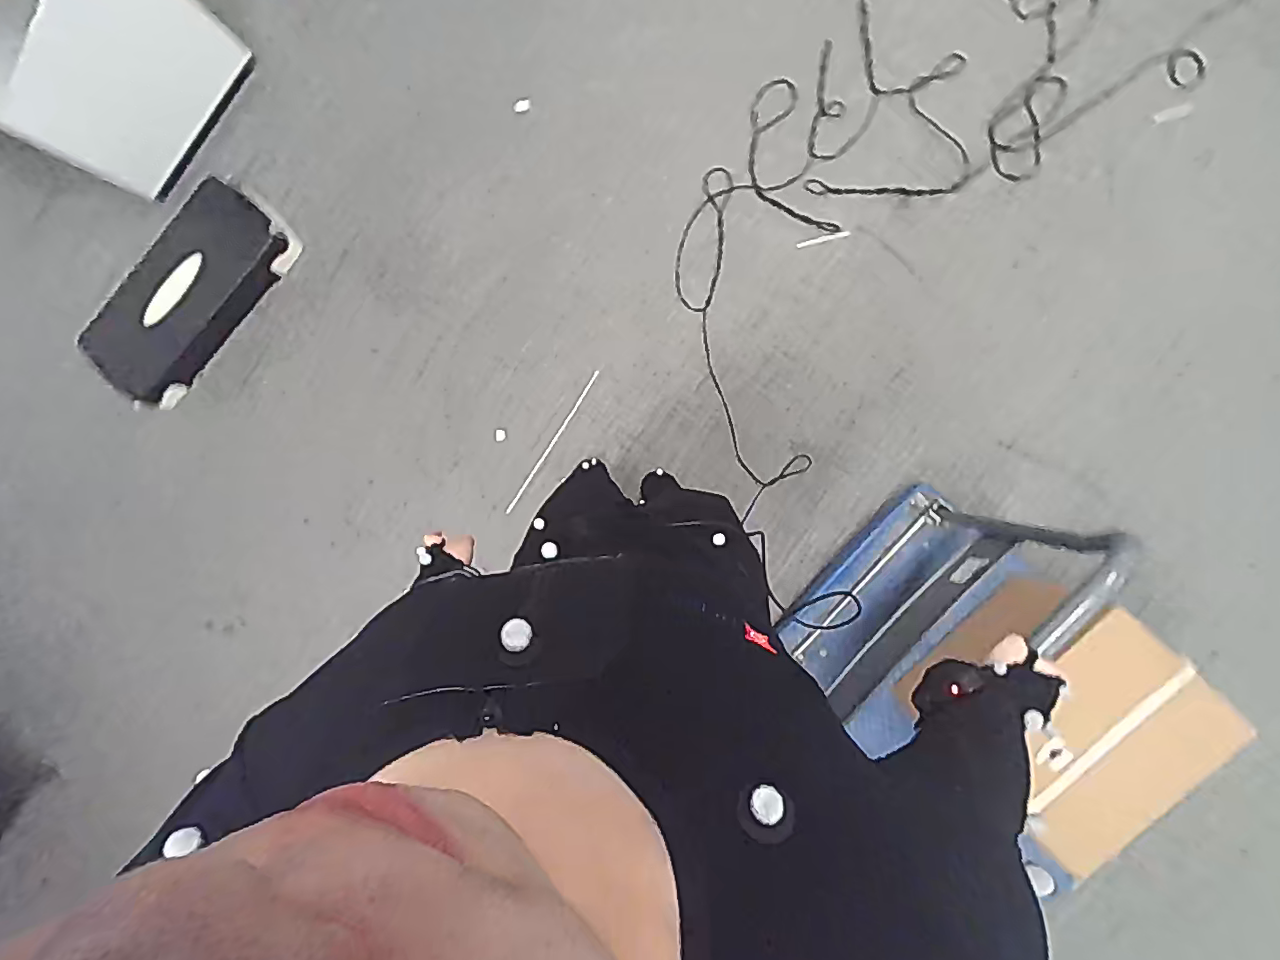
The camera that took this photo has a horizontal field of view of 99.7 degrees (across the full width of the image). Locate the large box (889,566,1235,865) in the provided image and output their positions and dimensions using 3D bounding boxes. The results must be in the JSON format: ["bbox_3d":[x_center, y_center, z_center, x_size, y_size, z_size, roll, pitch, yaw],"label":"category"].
[{"bbox_3d":[0.815,0.447,1.116,0.320,0.320,0.408,43,96,4],"label":"large box"}]
